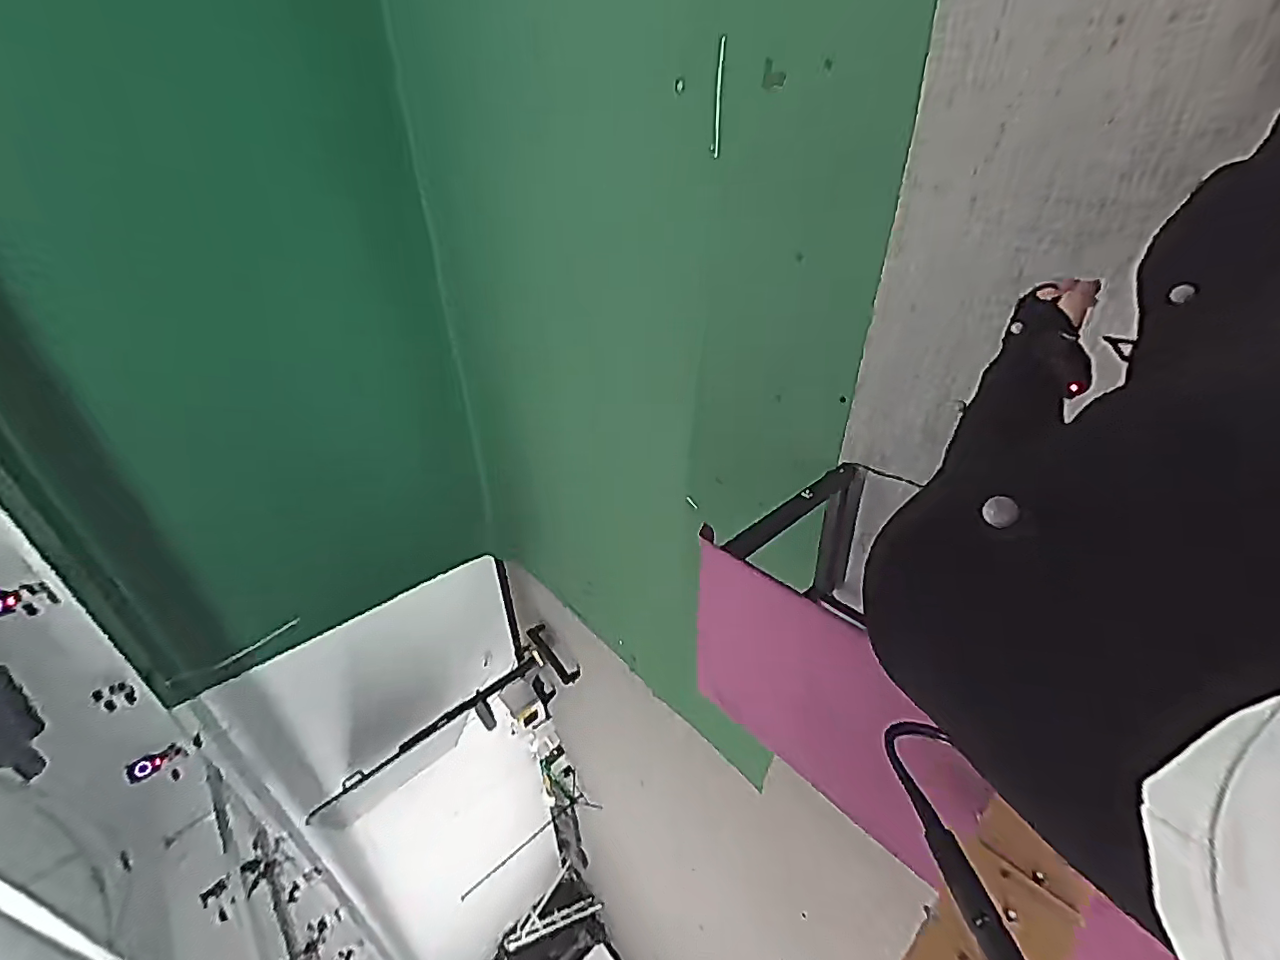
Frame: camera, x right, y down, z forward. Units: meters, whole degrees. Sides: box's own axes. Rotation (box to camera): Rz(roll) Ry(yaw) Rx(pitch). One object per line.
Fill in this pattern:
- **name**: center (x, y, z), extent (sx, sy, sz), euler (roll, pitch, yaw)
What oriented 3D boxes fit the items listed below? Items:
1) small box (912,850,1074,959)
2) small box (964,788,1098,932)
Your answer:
- **small box**: center (0.575, 0.765, 0.887), extent (0.168, 0.176, 0.179), euler (25, 131, 43)
- **small box**: center (0.699, 0.718, 0.988), extent (0.168, 0.176, 0.179), euler (23, 130, 43)
